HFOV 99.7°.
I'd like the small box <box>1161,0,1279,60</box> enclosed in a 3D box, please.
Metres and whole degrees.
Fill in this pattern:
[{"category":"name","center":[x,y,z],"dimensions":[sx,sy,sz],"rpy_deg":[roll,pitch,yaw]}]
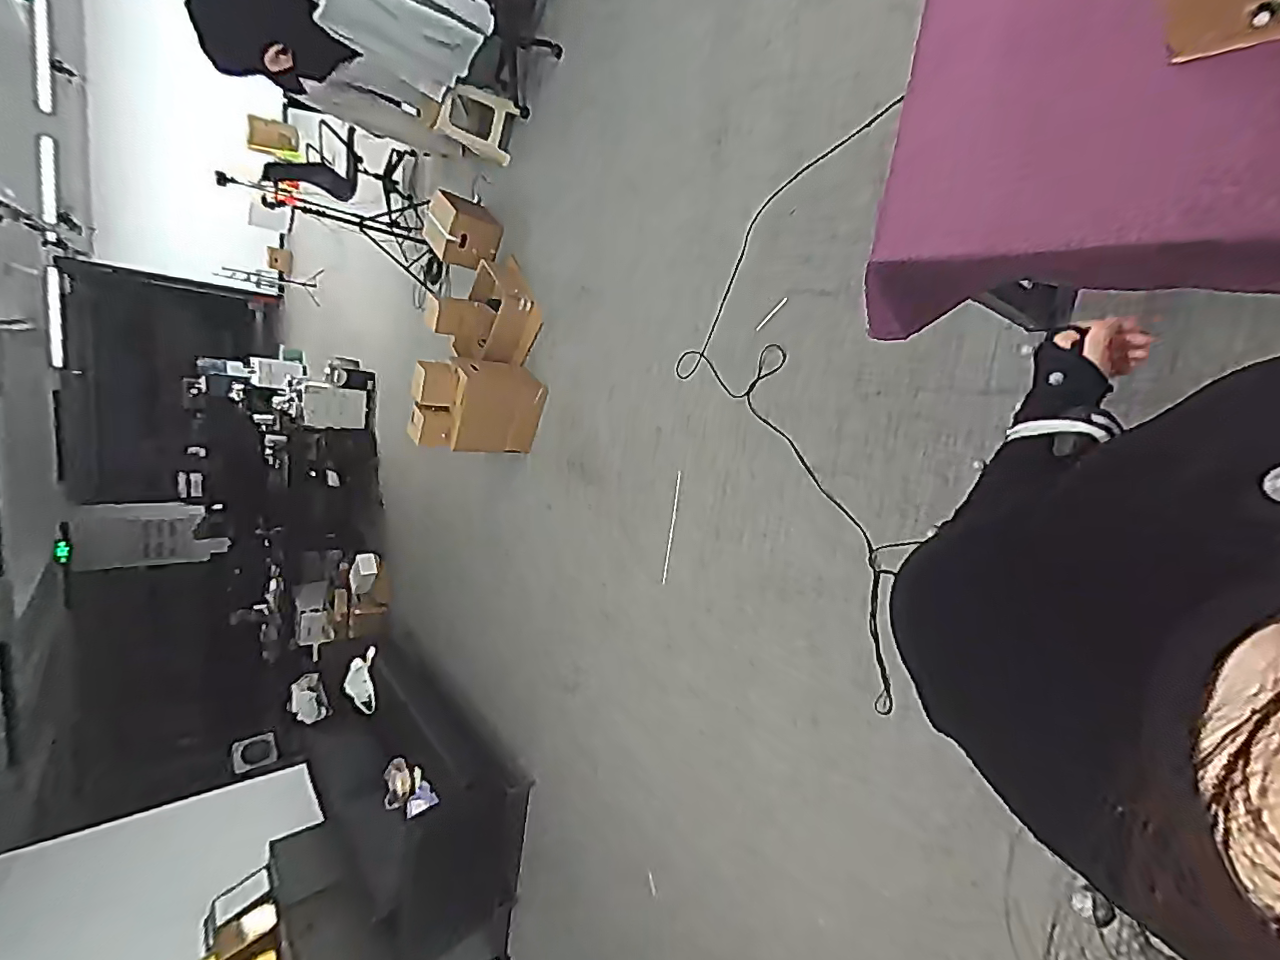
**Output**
[{"category":"small box","center":[0.592,-0.528,0.477],"dimensions":[0.168,0.176,0.179],"rpy_deg":[21,107,46]}]
